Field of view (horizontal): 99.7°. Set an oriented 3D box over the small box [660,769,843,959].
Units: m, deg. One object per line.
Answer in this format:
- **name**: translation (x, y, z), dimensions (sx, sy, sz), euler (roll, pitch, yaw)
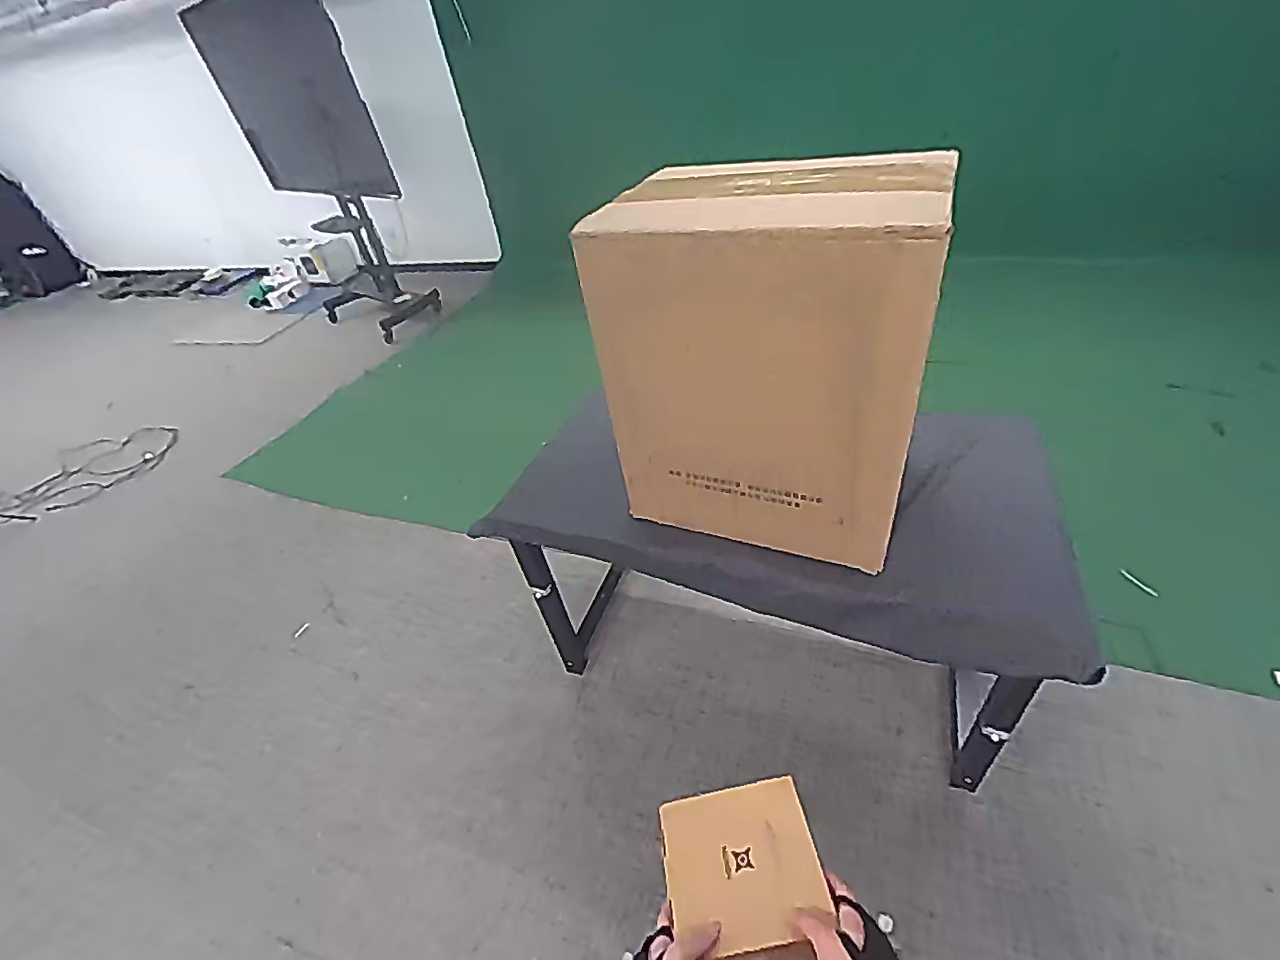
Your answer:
- **small box**: translation (0.135, 0.498, 0.666), dimensions (0.179, 0.176, 0.168), euler (-14, 31, 1)
